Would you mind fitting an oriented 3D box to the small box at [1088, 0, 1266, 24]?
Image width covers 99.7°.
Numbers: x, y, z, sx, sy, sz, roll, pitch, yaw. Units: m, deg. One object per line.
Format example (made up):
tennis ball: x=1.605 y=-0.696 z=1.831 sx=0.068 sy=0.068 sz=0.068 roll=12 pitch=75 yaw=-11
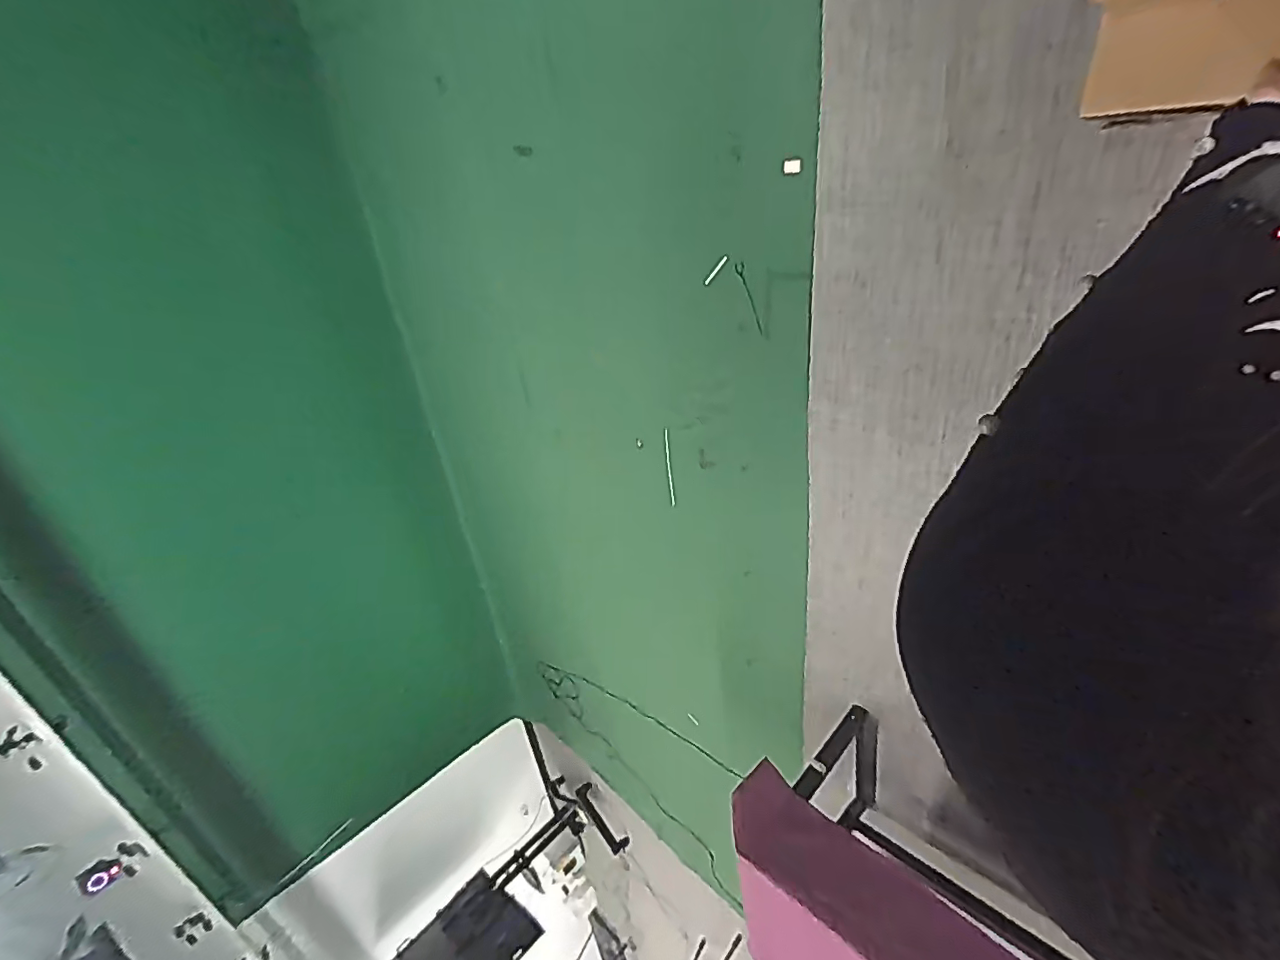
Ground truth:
small box: x=0.649 y=-0.643 z=0.606 sx=0.168 sy=0.176 sz=0.179 roll=24 pitch=127 yaw=41
